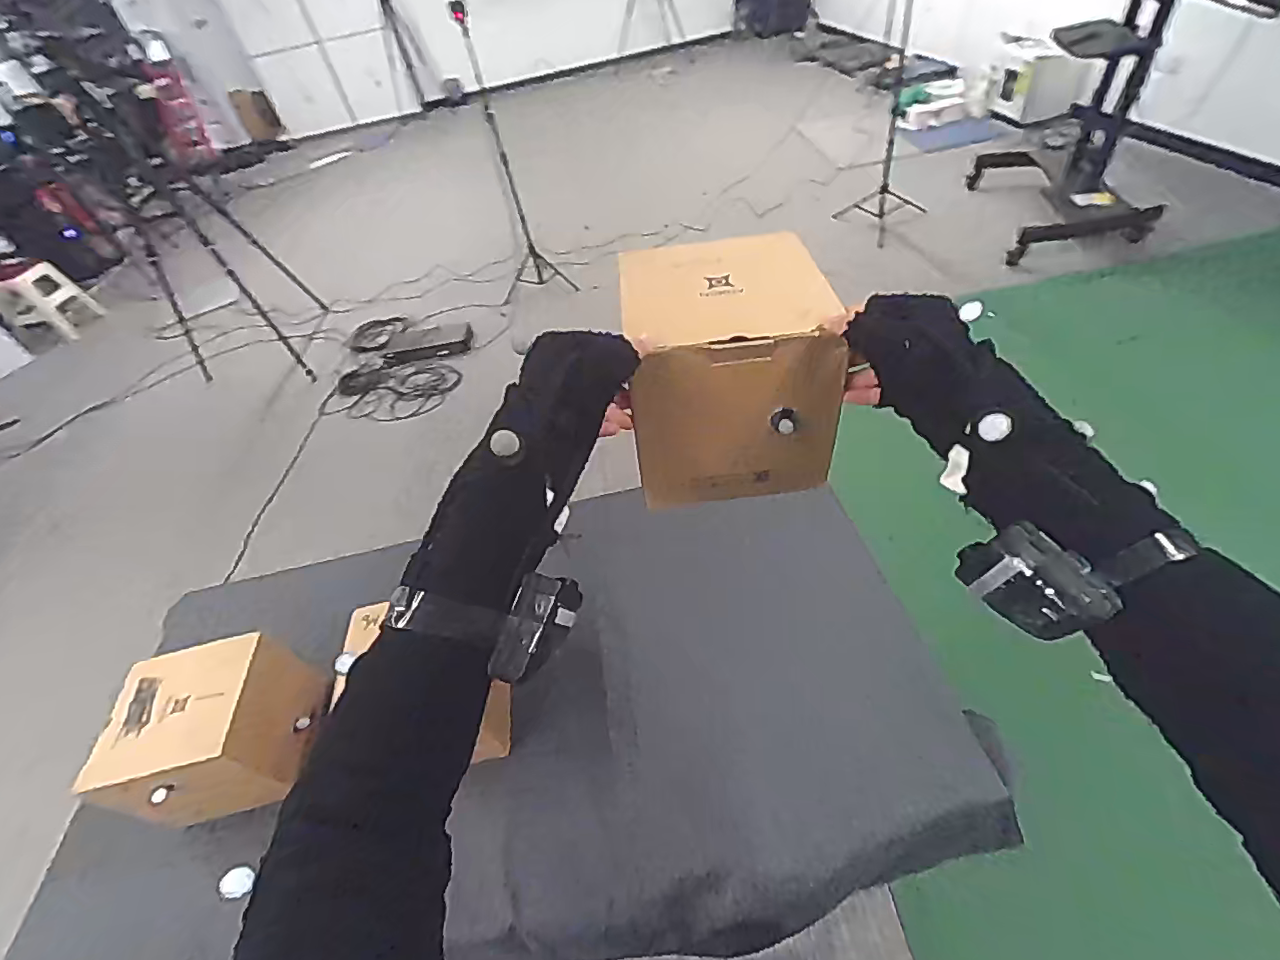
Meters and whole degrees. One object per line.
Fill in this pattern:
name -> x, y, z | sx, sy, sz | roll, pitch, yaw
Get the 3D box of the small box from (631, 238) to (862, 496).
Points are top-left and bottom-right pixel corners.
small box -> 0.083, -0.098, 0.499 | 0.168, 0.176, 0.179 | -5, 44, 1

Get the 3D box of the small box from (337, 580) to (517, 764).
small box -> -0.273, 0.269, 0.740 | 0.168, 0.176, 0.179 | -13, 46, 0

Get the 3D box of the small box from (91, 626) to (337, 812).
small box -> -0.560, 0.332, 0.743 | 0.179, 0.176, 0.168 | -14, 46, -2
